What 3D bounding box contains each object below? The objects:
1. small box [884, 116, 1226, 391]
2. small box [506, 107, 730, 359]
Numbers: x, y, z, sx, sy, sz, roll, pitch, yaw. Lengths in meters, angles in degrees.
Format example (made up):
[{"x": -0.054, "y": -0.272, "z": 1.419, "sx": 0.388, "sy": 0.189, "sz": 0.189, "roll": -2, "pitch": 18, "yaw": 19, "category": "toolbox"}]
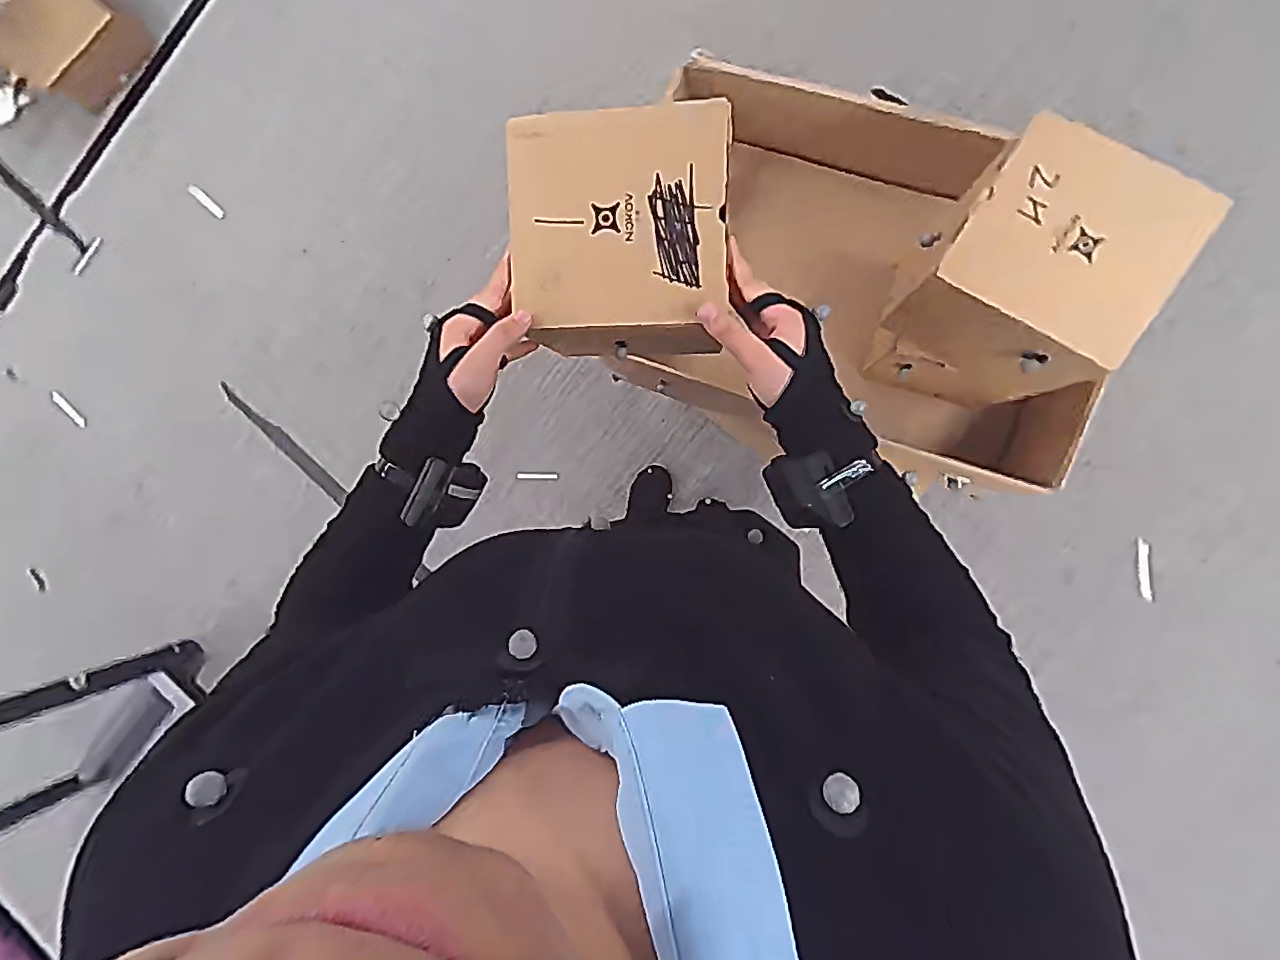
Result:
[{"x": 0.385, "y": -0.204, "z": 0.544, "sx": 0.179, "sy": 0.176, "sz": 0.168, "roll": 33, "pitch": 94, "yaw": 7, "category": "small box"}, {"x": -0.010, "y": -0.207, "z": 0.502, "sx": 0.179, "sy": 0.176, "sz": 0.168, "roll": 0, "pitch": 95, "yaw": 7, "category": "small box"}]
